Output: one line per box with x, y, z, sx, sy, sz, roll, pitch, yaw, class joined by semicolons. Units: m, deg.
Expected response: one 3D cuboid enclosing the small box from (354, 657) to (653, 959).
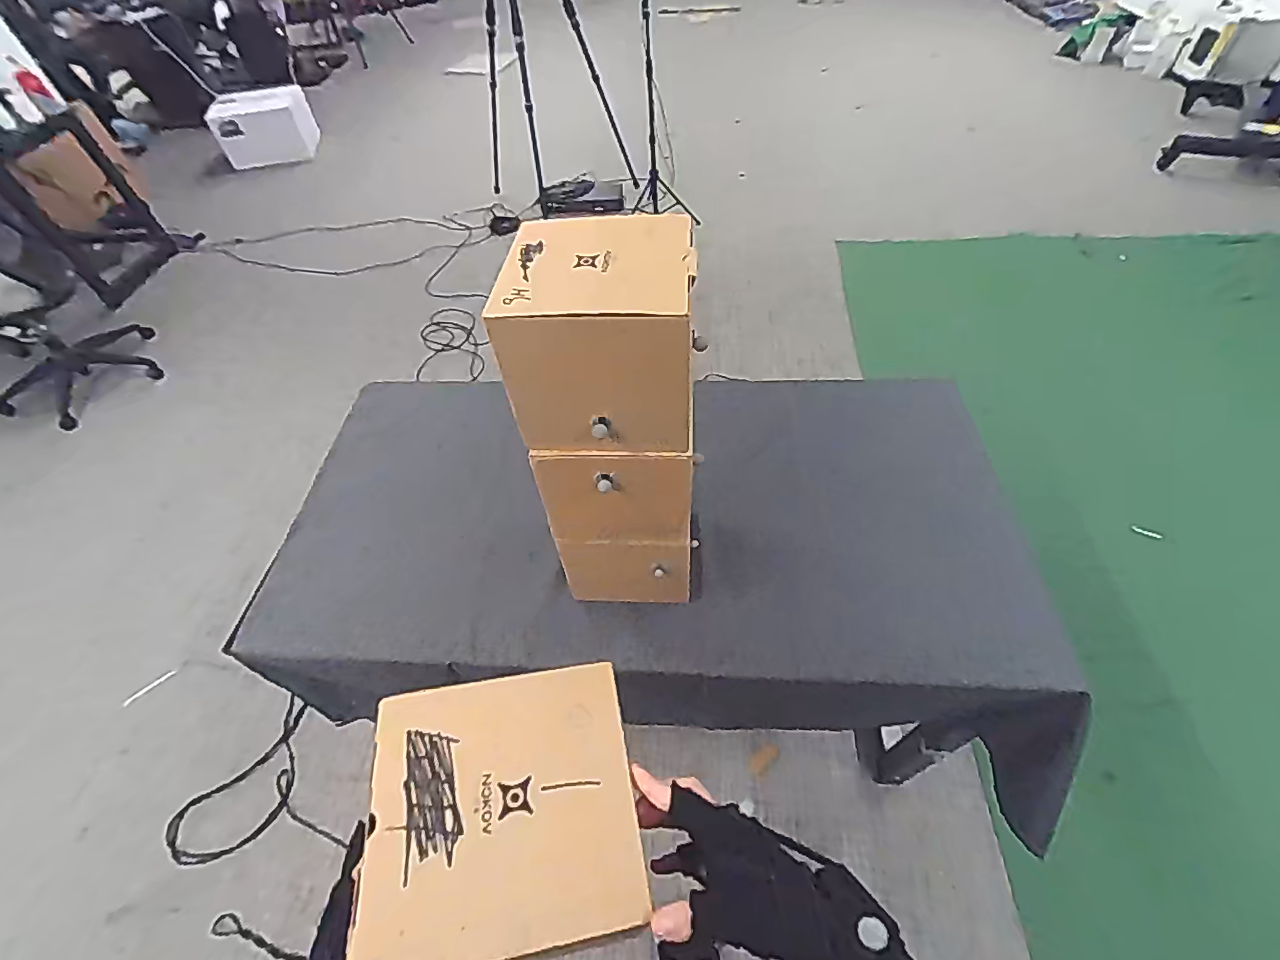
-0.094;0.262;0.425;0.179;0.176;0.168;-4;49;-10;small box

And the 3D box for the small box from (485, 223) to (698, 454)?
-0.034;-0.141;0.558;0.179;0.176;0.168;2;51;5;small box

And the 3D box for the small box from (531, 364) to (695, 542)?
-0.022;-0.033;0.681;0.179;0.176;0.168;0;51;5;small box
